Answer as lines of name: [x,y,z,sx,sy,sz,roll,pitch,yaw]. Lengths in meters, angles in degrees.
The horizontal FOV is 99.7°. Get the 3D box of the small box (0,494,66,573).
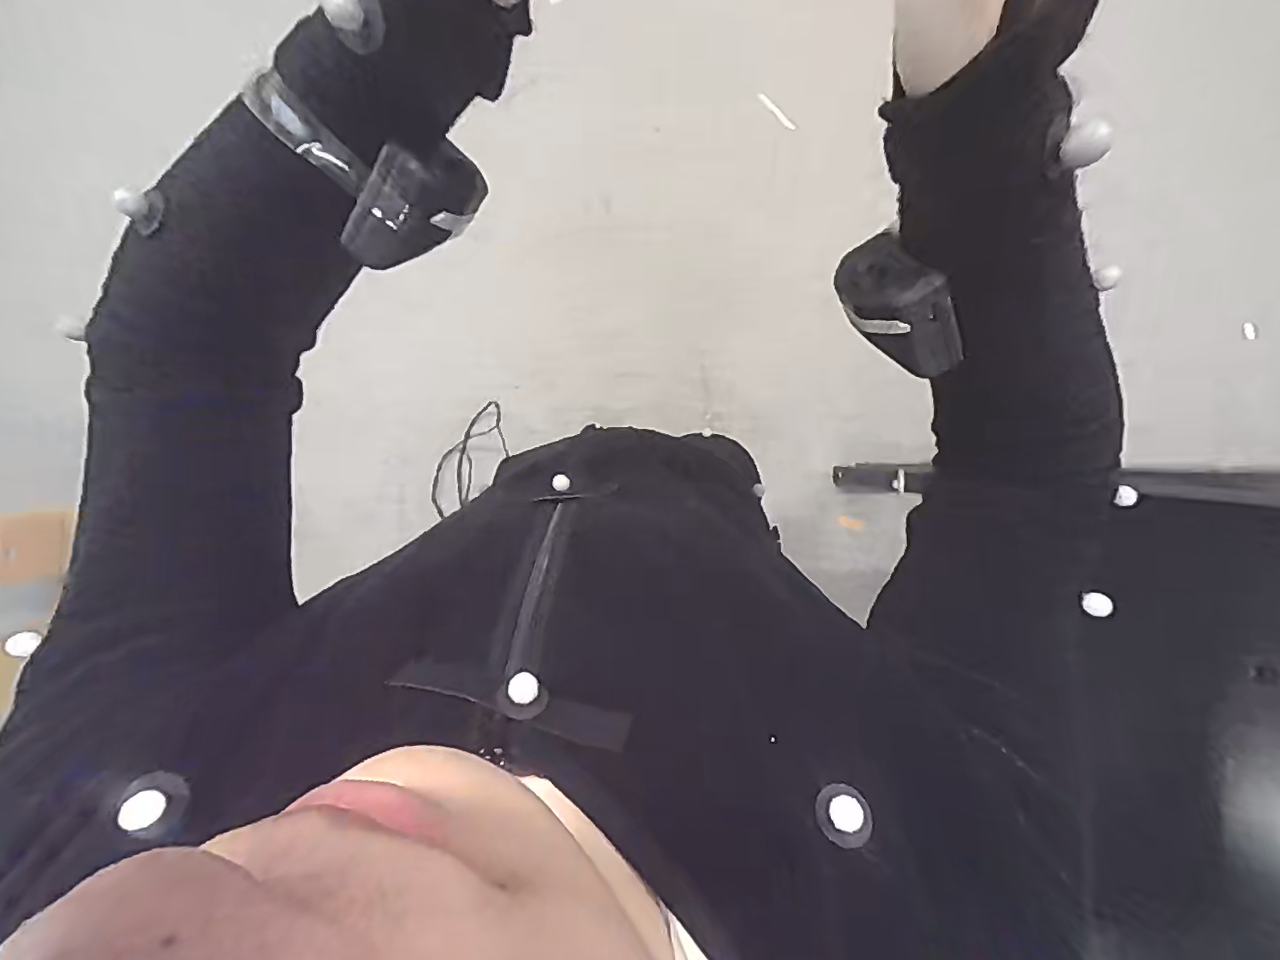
small box: [-1.665,0.139,1.410,0.168,0.176,0.179,6,93,0]

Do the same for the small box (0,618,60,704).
small box: [-1.708,0.477,1.431,0.179,0.176,0.168,8,93,0]
